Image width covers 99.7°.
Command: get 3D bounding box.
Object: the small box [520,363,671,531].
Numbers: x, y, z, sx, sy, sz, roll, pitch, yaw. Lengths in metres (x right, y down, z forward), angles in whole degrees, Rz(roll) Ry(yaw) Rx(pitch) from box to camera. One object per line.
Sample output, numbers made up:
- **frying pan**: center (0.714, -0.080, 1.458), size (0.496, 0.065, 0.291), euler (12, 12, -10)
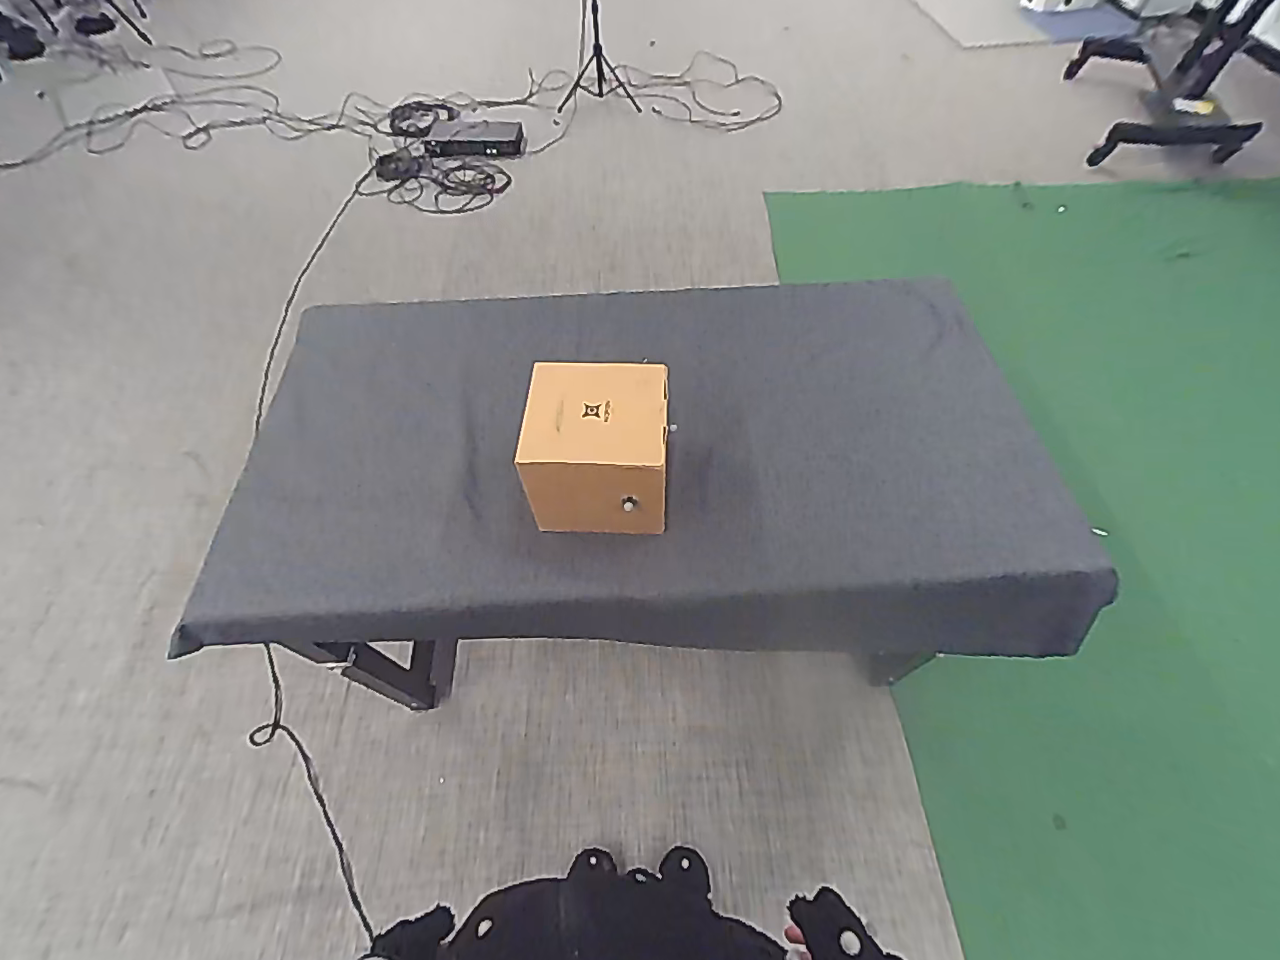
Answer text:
- **small box**: center (-0.049, -0.040, 0.735), size (0.179, 0.176, 0.168), euler (0, 56, 3)
